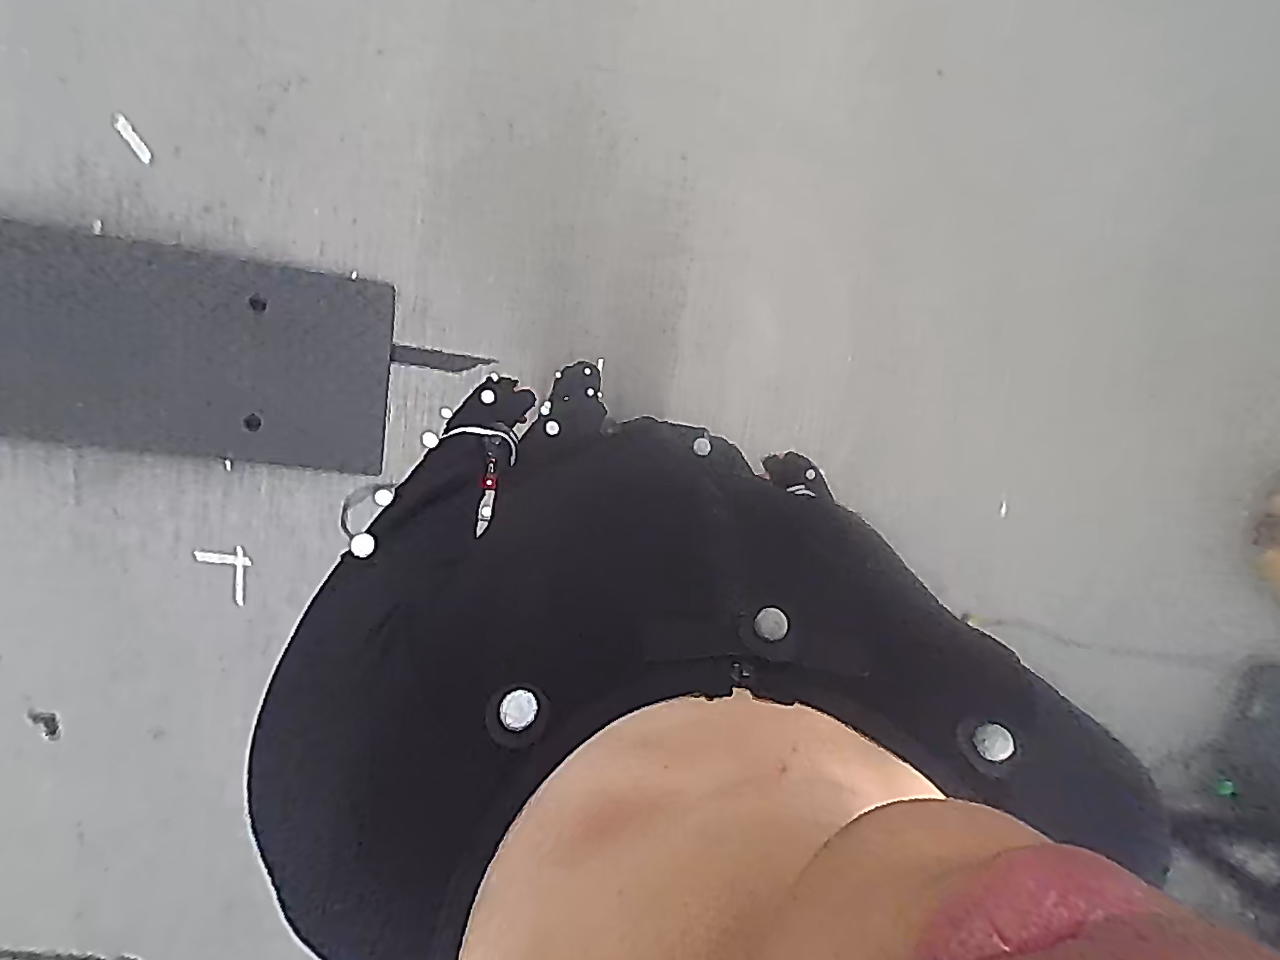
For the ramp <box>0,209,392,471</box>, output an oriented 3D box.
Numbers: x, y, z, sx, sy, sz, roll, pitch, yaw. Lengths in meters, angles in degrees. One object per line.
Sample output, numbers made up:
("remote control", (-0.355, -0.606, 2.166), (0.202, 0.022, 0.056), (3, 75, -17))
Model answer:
("ramp", (-1.131, -0.310, 1.253), (0.991, 0.206, 0.509), (6, 97, -6))
